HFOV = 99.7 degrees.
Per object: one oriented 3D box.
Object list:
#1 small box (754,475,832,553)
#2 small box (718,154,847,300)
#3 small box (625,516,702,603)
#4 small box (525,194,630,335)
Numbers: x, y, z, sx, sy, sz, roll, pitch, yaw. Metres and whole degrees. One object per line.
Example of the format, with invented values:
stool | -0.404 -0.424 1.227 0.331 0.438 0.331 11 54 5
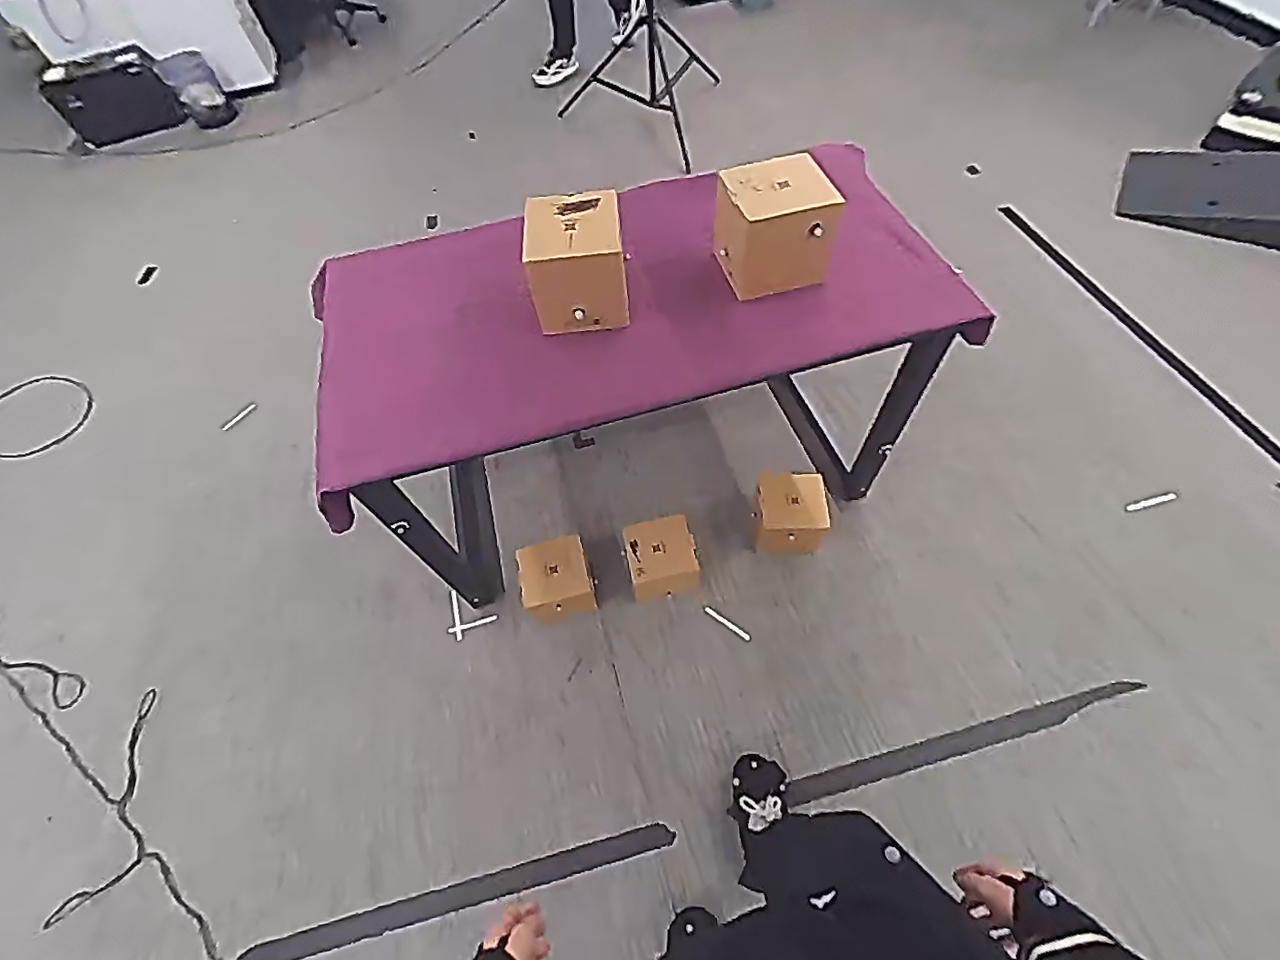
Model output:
small box | 0.420 0.099 1.512 0.179 0.176 0.168 -1 60 6
small box | 0.254 -0.467 1.011 0.179 0.176 0.168 -14 58 -3
small box | 0.062 0.220 1.470 0.179 0.176 0.168 -12 59 -2
small box | -0.109 -0.395 1.000 0.168 0.176 0.179 -5 60 2
